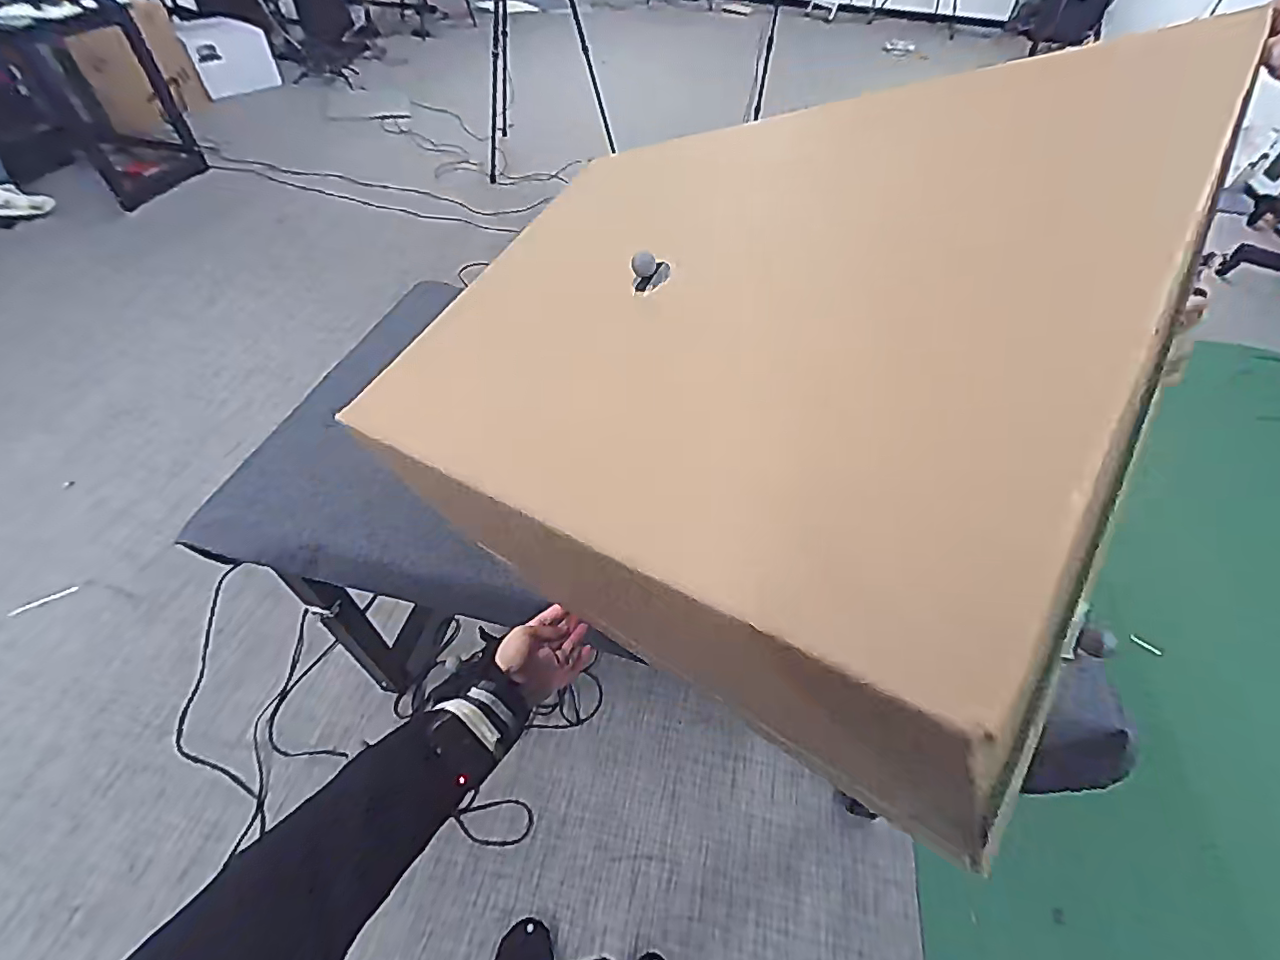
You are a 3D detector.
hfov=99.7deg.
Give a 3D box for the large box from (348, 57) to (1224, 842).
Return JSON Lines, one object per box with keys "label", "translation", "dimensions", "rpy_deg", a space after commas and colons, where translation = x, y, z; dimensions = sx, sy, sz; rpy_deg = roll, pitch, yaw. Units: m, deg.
{"label": "large box", "translation": [0.079, -0.017, 0.400], "dimensions": [0.408, 0.320, 0.320], "rpy_deg": [17, 64, 40]}
